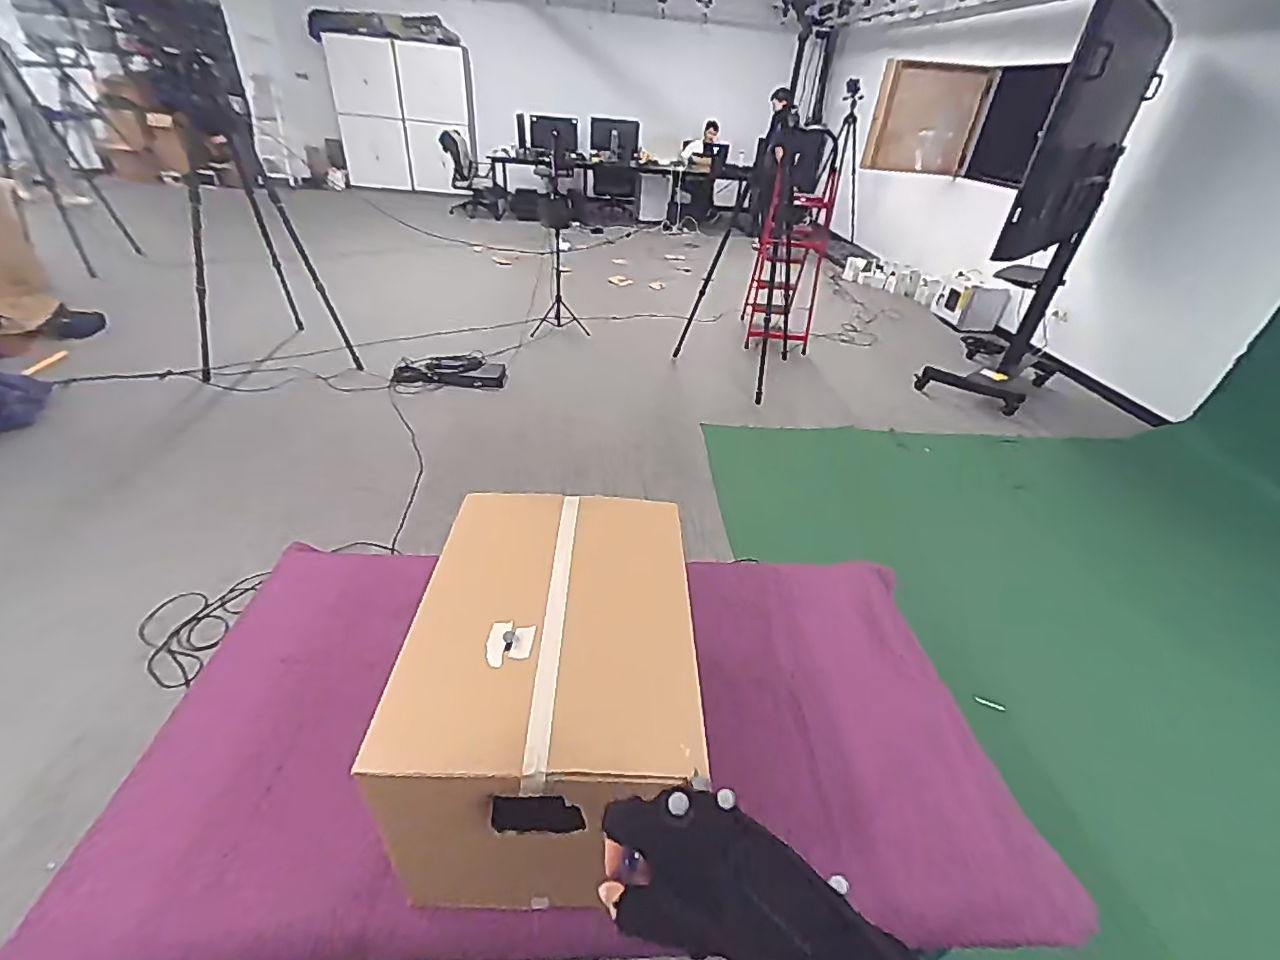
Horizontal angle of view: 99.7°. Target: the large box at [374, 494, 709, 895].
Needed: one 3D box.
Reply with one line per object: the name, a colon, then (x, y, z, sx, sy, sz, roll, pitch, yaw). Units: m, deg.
large box: (-0.107, 0.268, 0.735, 0.320, 0.320, 0.408, 4, 36, -3)
